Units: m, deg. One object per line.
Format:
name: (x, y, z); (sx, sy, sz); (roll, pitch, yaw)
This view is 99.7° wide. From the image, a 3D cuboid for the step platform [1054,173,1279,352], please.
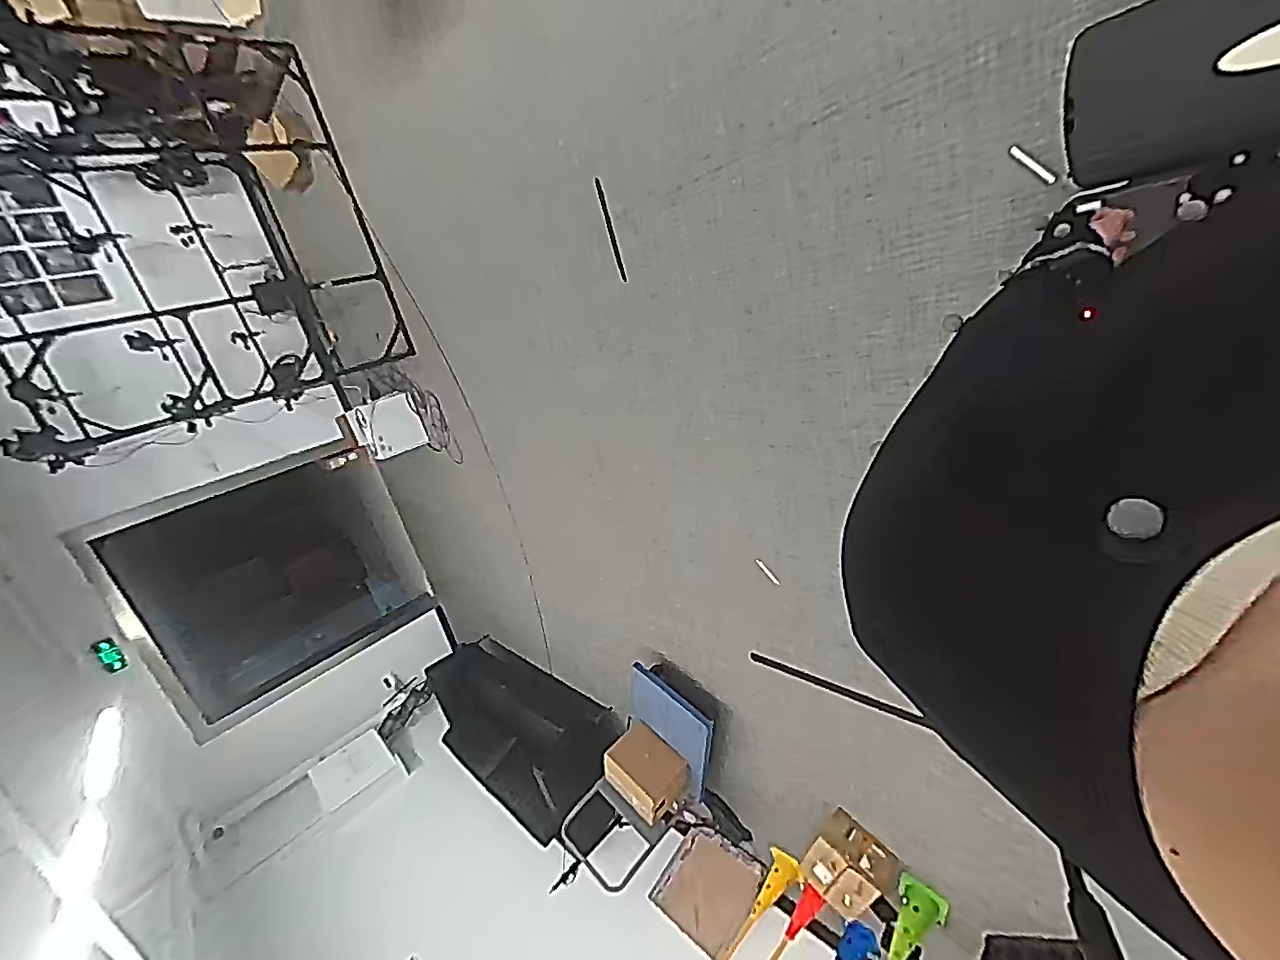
step platform: (1.123, -0.373, 0.905); (0.684, 0.204, 0.286); (13, 121, 48)
